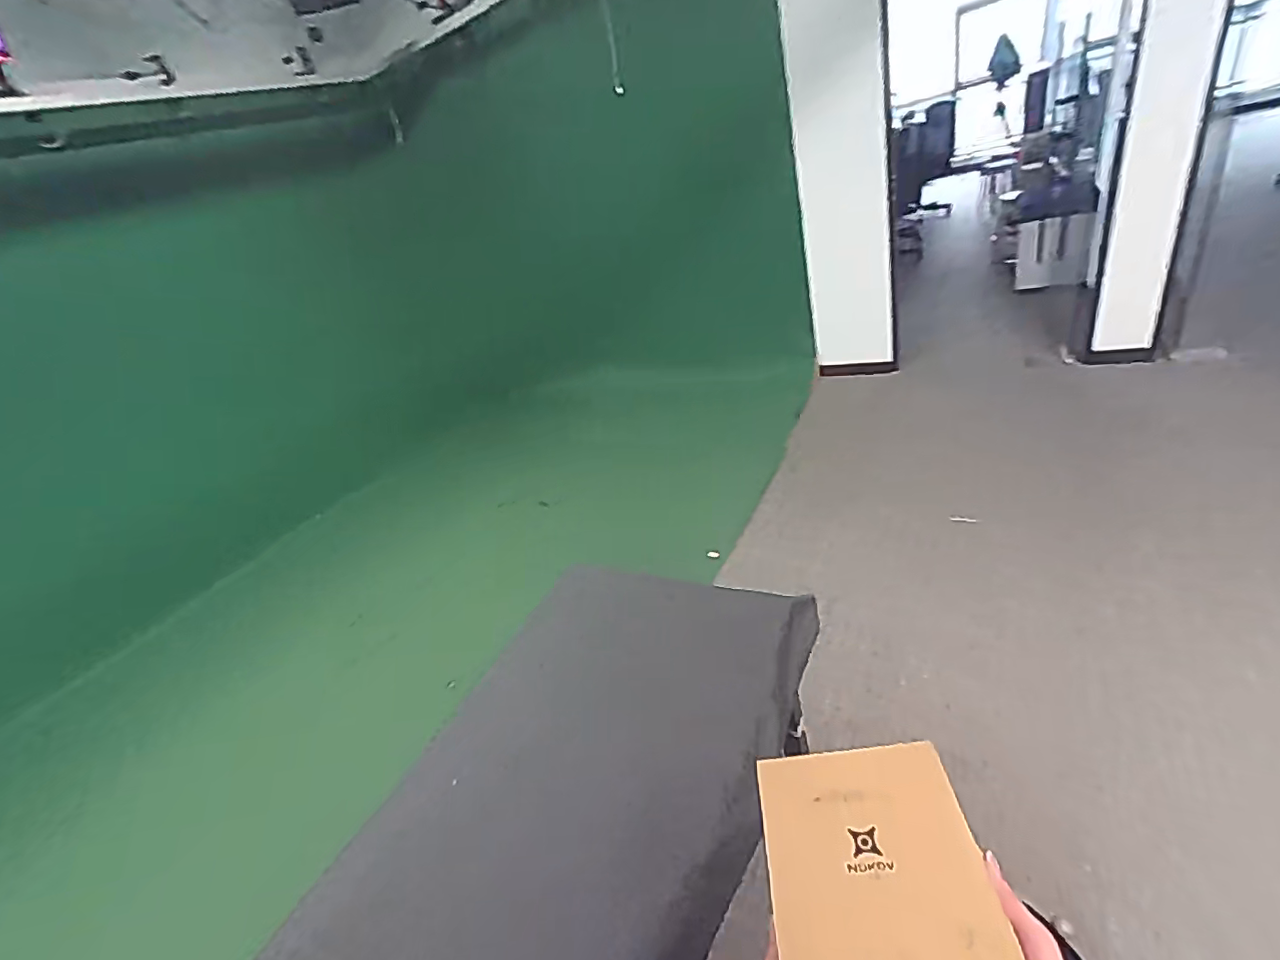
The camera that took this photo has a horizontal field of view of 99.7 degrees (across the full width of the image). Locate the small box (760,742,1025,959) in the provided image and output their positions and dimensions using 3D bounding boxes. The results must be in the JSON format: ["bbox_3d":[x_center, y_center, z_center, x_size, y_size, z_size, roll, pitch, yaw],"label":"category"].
[{"bbox_3d":[0.209,0.369,0.476,0.168,0.176,0.179,-12,25,12],"label":"small box"}]
